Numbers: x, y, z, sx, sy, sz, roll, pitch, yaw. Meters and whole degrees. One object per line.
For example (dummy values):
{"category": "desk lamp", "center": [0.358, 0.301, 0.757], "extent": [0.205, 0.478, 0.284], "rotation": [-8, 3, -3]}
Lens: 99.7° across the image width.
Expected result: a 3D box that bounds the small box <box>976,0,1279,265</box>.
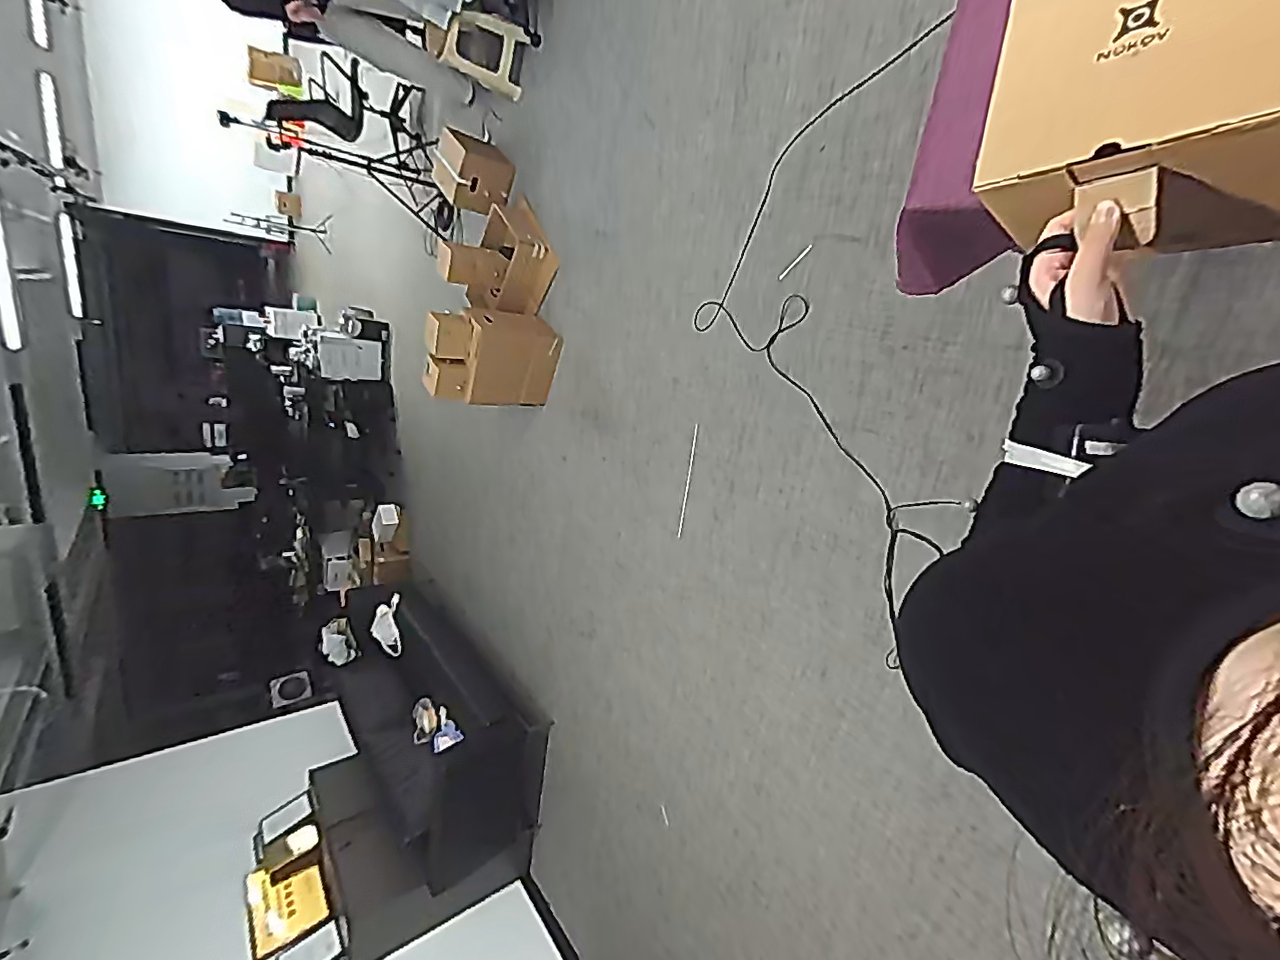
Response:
{"category": "small box", "center": [0.398, -0.294, 0.421], "extent": [0.168, 0.176, 0.179], "rotation": [14, 94, 52]}
